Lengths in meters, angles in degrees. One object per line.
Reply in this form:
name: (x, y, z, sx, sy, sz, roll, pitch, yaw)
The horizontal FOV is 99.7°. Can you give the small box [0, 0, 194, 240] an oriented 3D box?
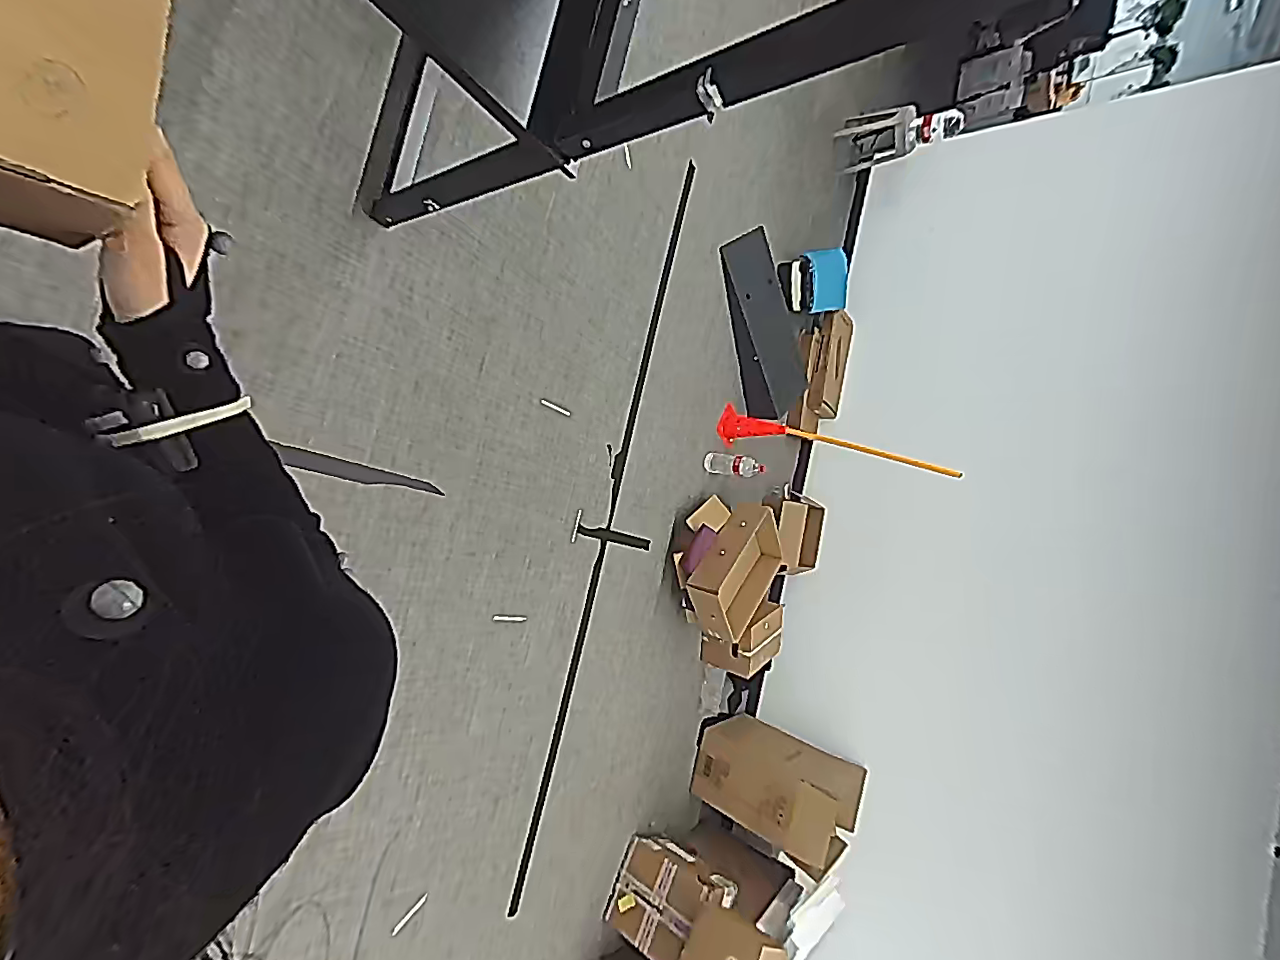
small box: (-0.329, -0.227, 0.242, 0.168, 0.176, 0.179, 7, 94, -54)
